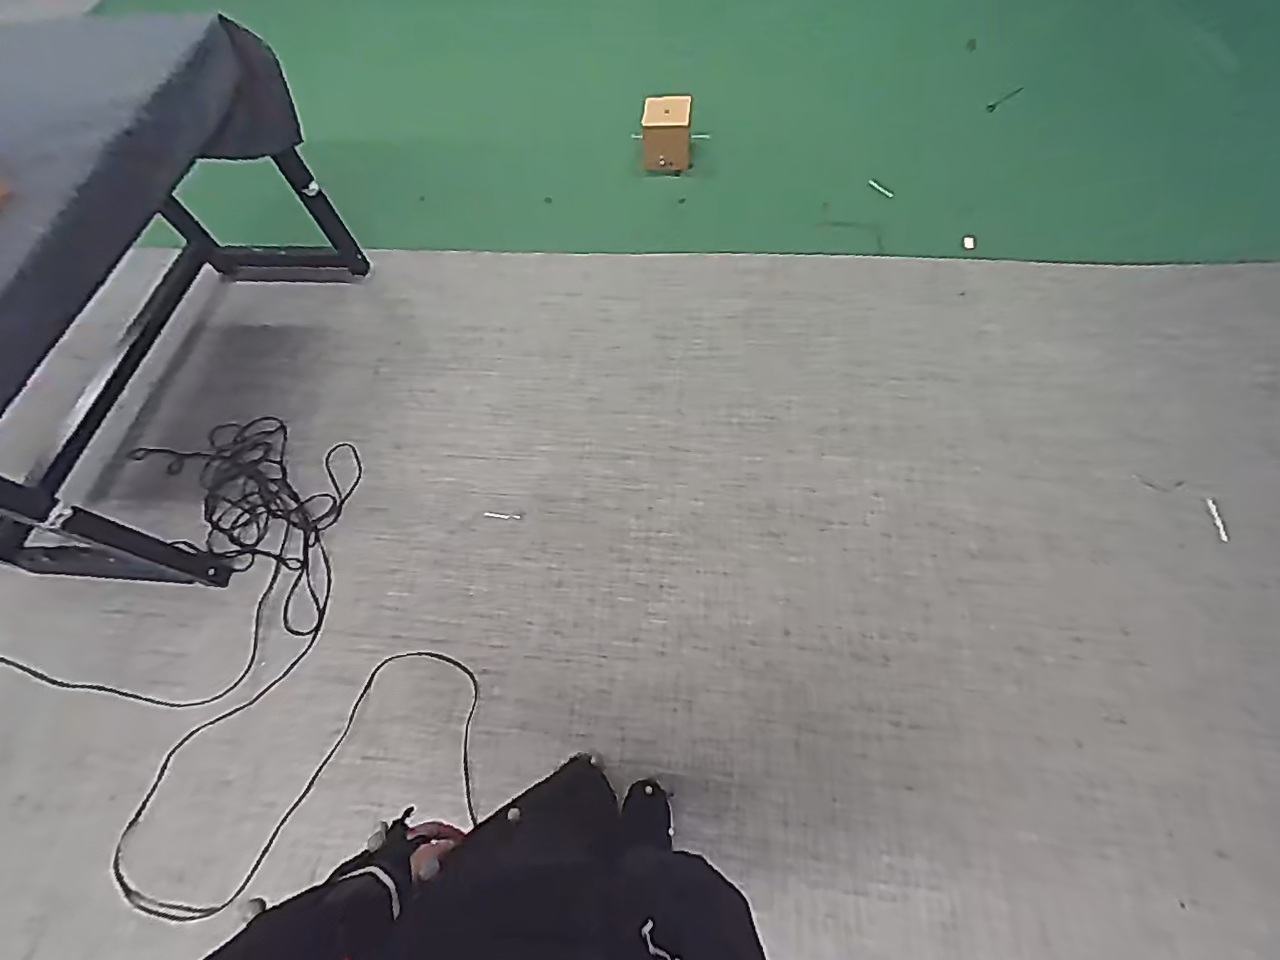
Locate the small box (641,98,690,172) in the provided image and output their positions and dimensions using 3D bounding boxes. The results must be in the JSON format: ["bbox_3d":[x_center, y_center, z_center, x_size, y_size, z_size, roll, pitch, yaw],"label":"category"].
[{"bbox_3d":[0.098,-1.279,2.006,0.168,0.176,0.179,2,64,7],"label":"small box"}]
